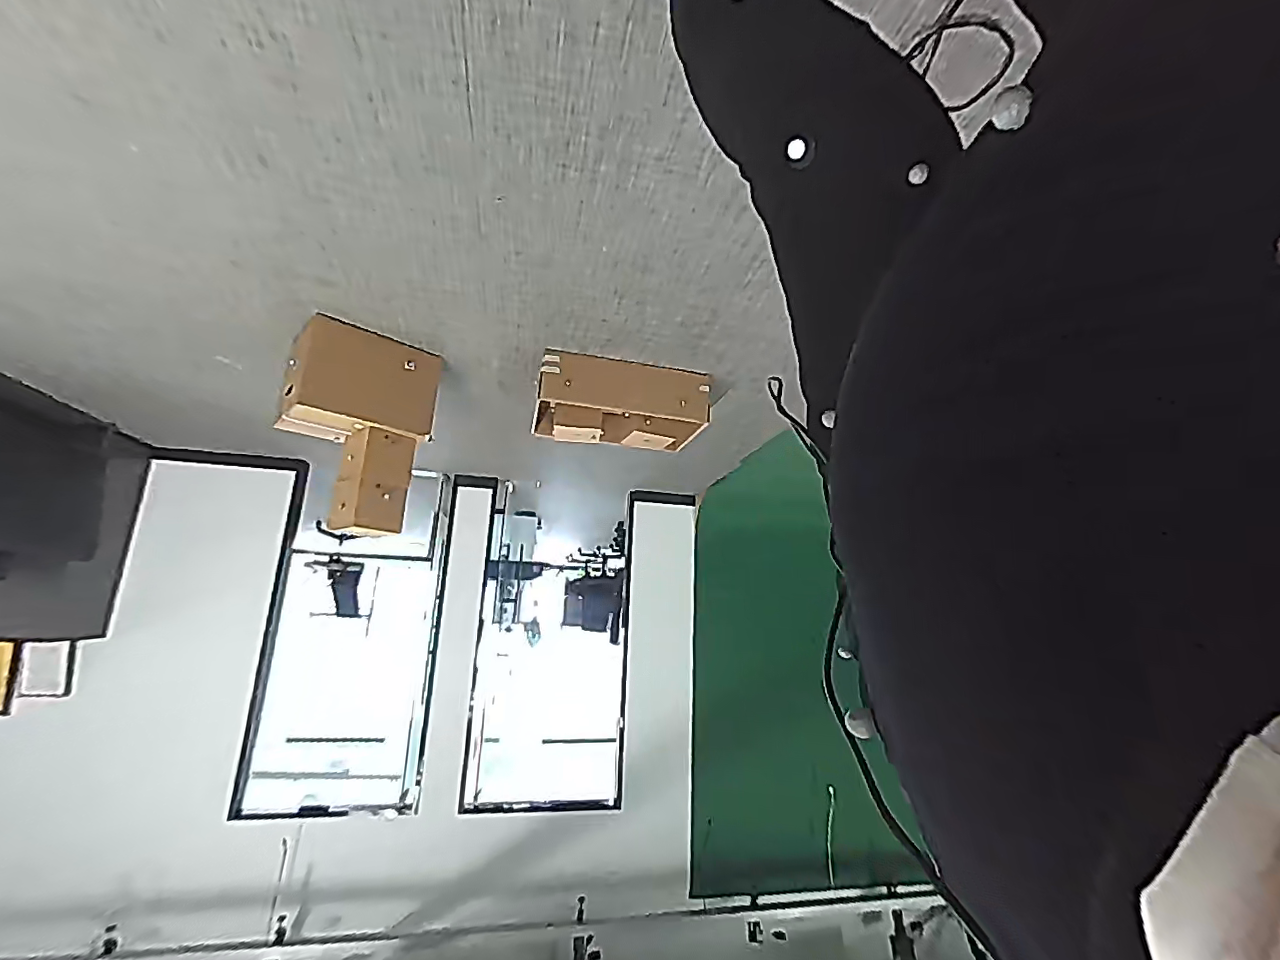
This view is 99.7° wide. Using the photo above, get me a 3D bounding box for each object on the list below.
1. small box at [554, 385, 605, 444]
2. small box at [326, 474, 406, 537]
[{"bbox_3d":[-0.231,-0.249,2.049,0.179,0.176,0.168,5,165,-8],"label":"small box"},{"bbox_3d":[-0.902,0.087,1.793,0.179,0.176,0.168,-9,161,35],"label":"small box"}]
